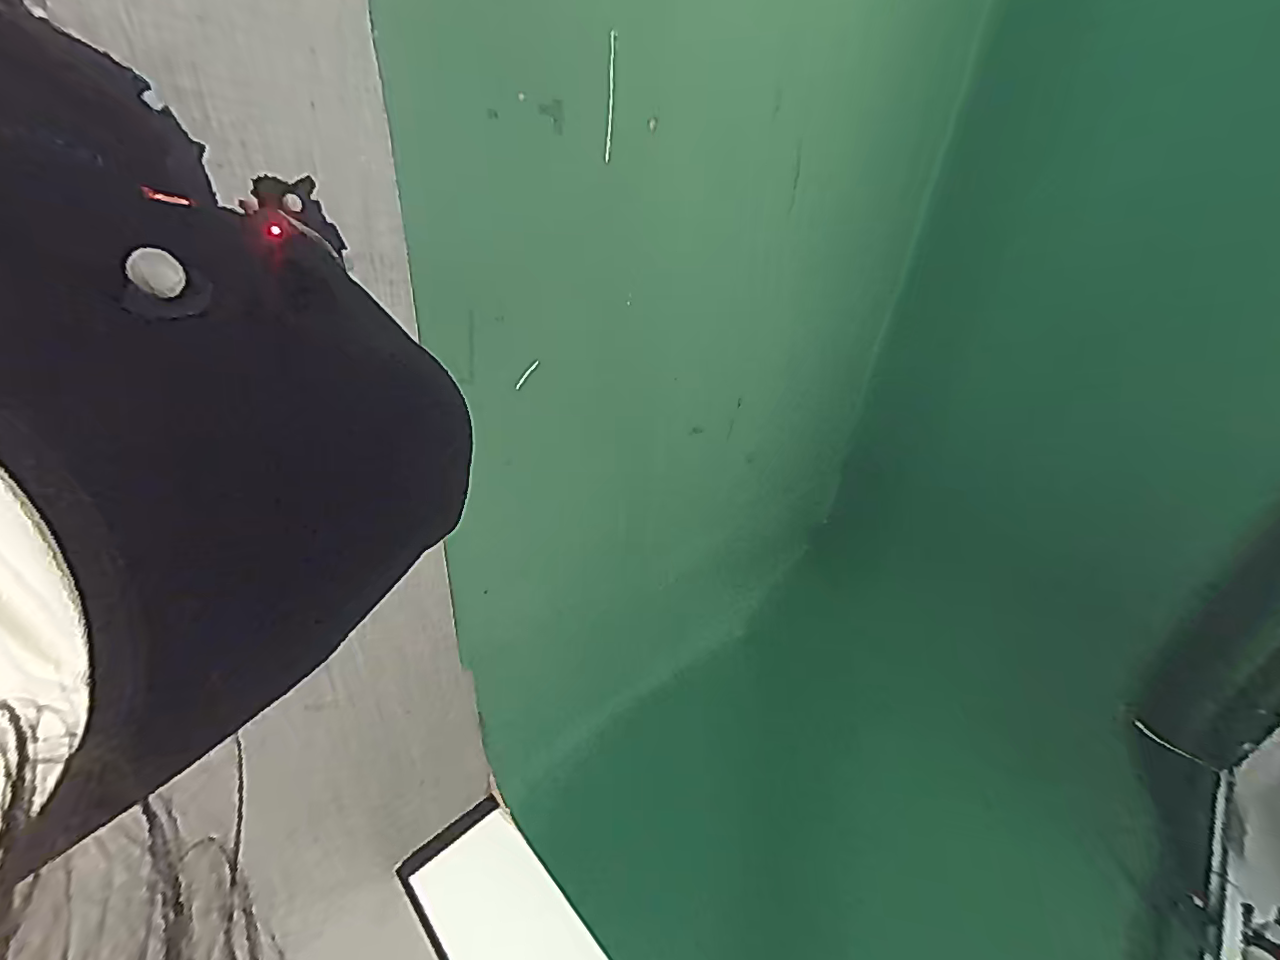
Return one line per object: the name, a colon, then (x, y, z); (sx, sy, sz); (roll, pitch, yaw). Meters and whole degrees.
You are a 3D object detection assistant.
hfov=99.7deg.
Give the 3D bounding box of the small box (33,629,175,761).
small box: (-1.148, 0.448, 1.160); (0.168, 0.176, 0.179); (-26, 134, -36)
